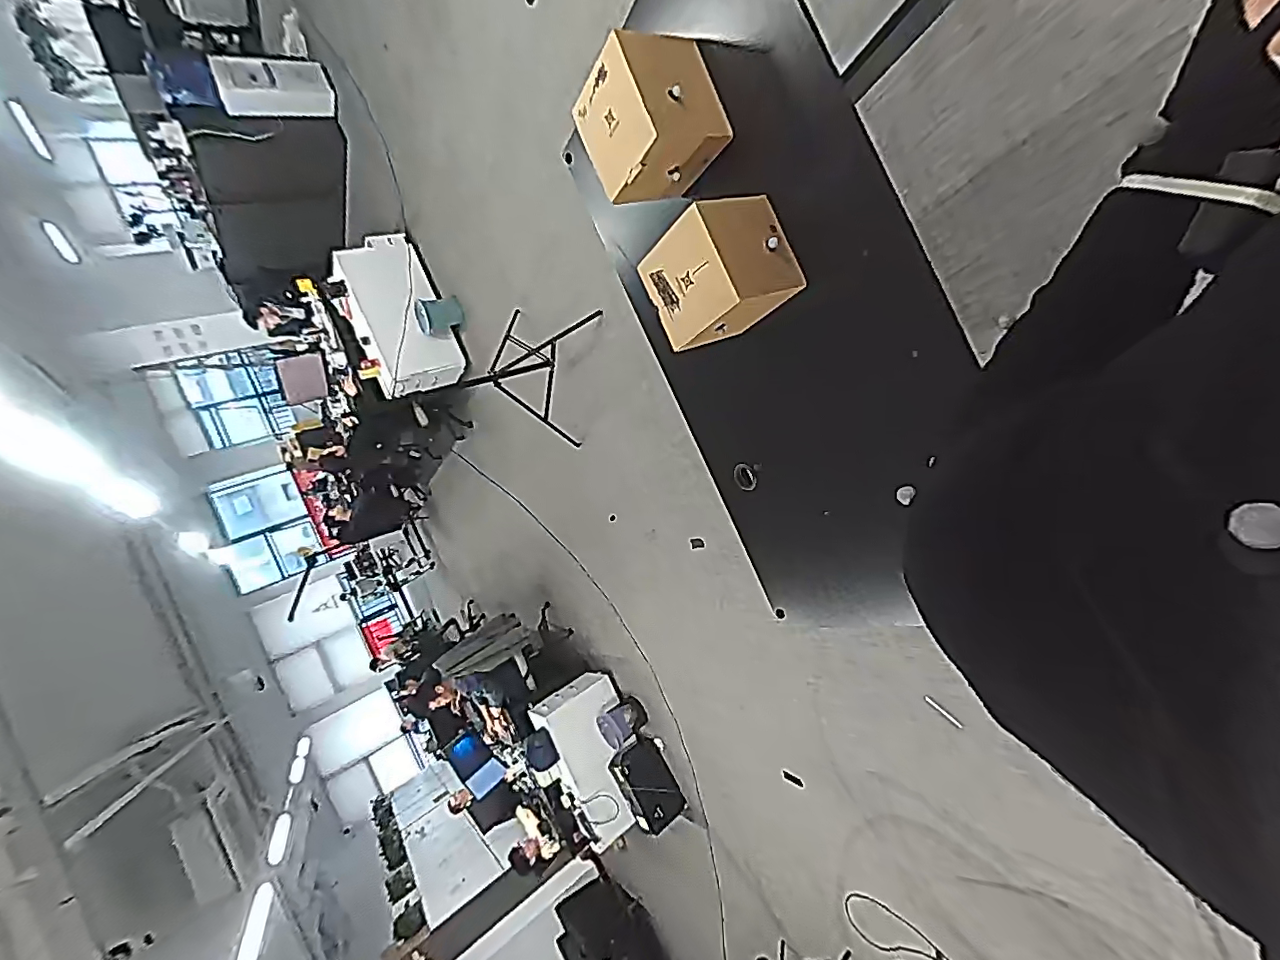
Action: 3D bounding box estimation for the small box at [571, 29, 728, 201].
[{"bbox_3d":[0.018,-0.607,0.908,0.168,0.176,0.179,-21,94,59],"label":"small box"}]

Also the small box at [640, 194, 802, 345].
[{"bbox_3d":[0.135,-0.350,0.908,0.179,0.176,0.168,-25,90,58],"label":"small box"}]
